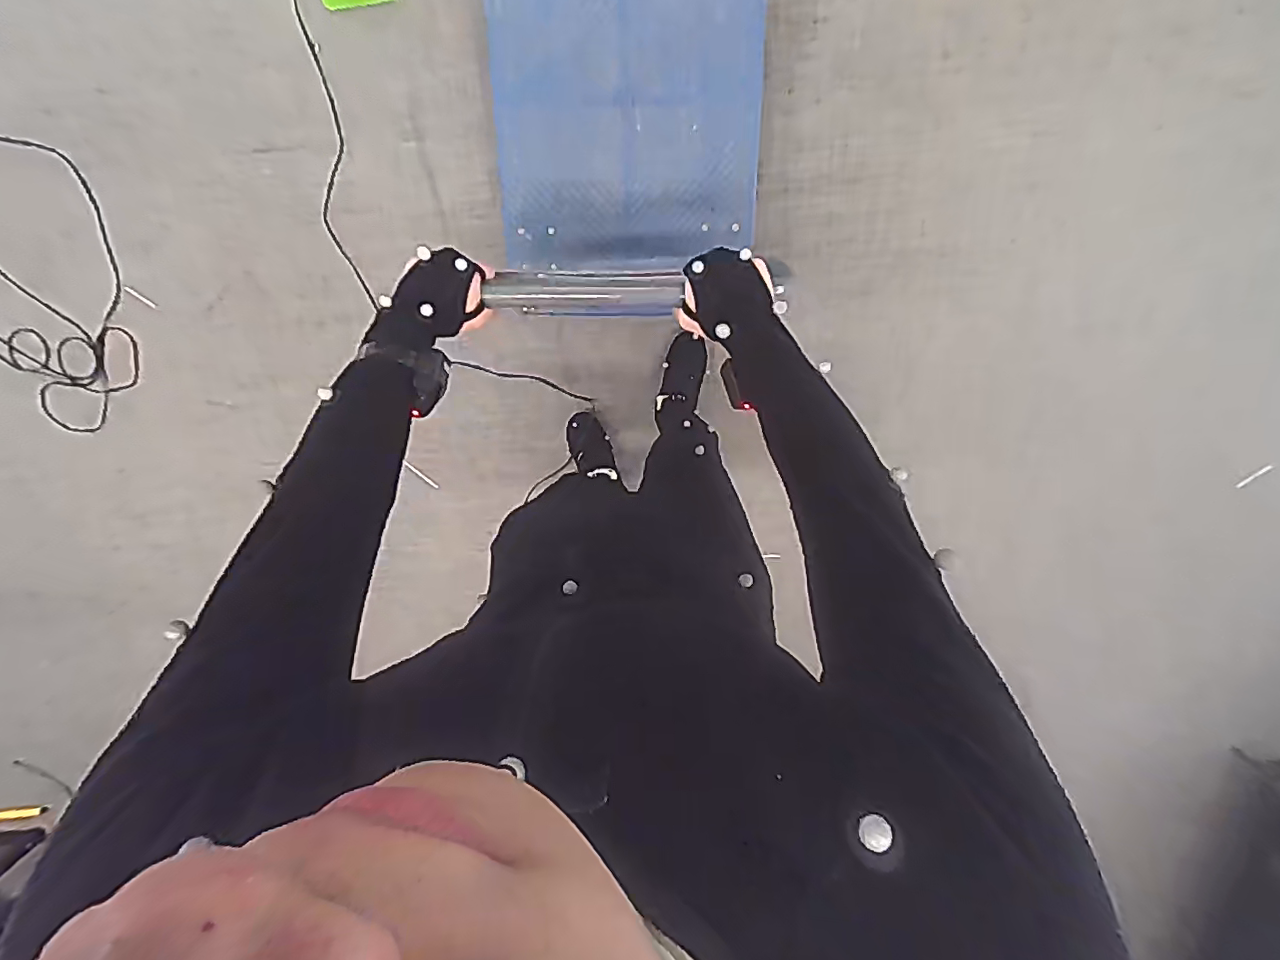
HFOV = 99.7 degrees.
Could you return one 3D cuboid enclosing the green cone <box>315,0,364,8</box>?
[{"bbox_3d":[-0.678,-1.138,1.050,0.202,0.368,0.200,-5,108,6],"label":"green cone"}]
